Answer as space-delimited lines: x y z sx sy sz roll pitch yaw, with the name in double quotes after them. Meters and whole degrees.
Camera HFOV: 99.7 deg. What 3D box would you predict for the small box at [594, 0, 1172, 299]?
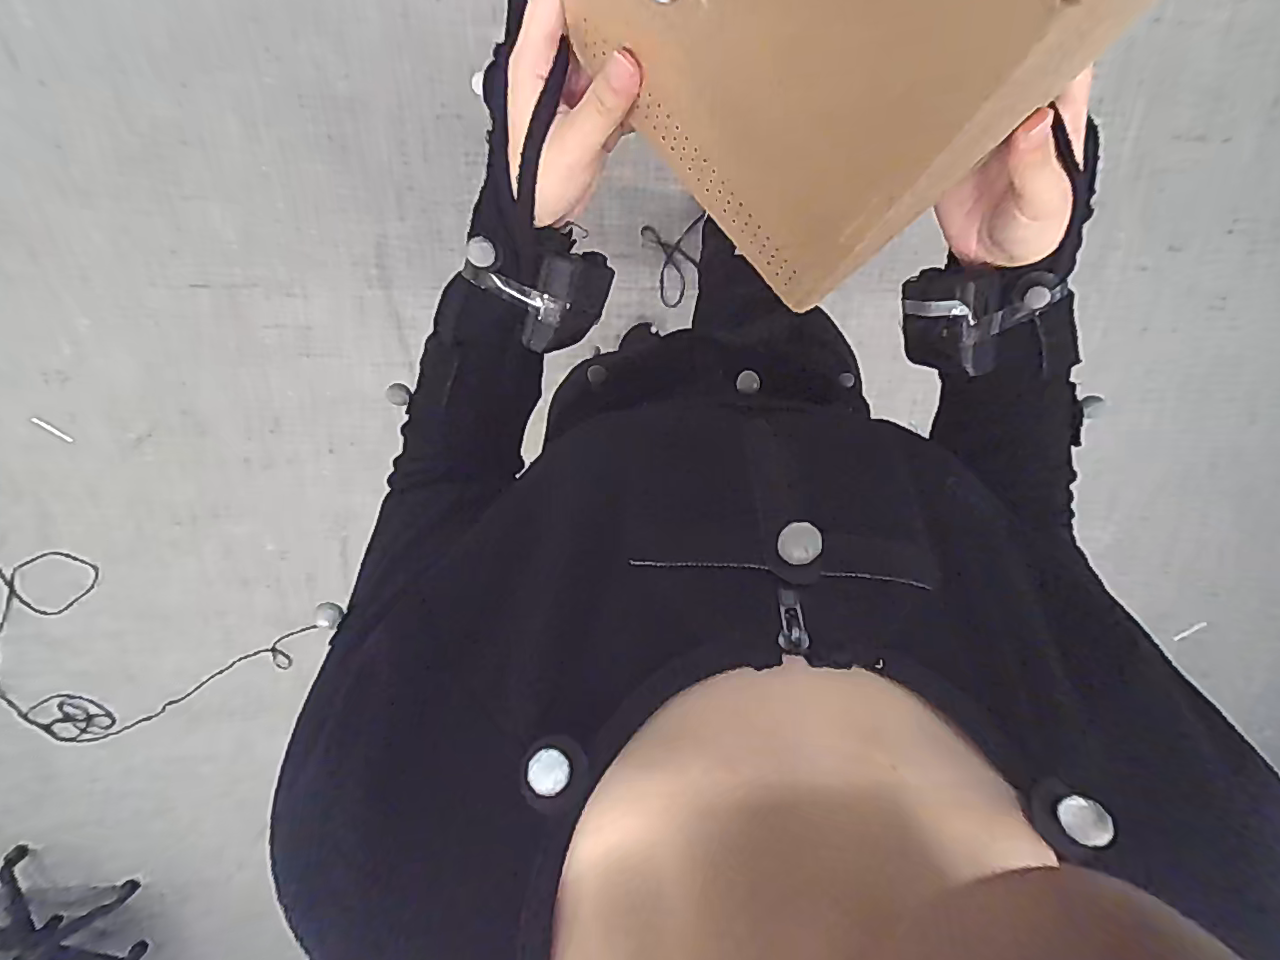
0.090 -0.202 0.196 0.168 0.176 0.179 -41 88 -2 "small box"
